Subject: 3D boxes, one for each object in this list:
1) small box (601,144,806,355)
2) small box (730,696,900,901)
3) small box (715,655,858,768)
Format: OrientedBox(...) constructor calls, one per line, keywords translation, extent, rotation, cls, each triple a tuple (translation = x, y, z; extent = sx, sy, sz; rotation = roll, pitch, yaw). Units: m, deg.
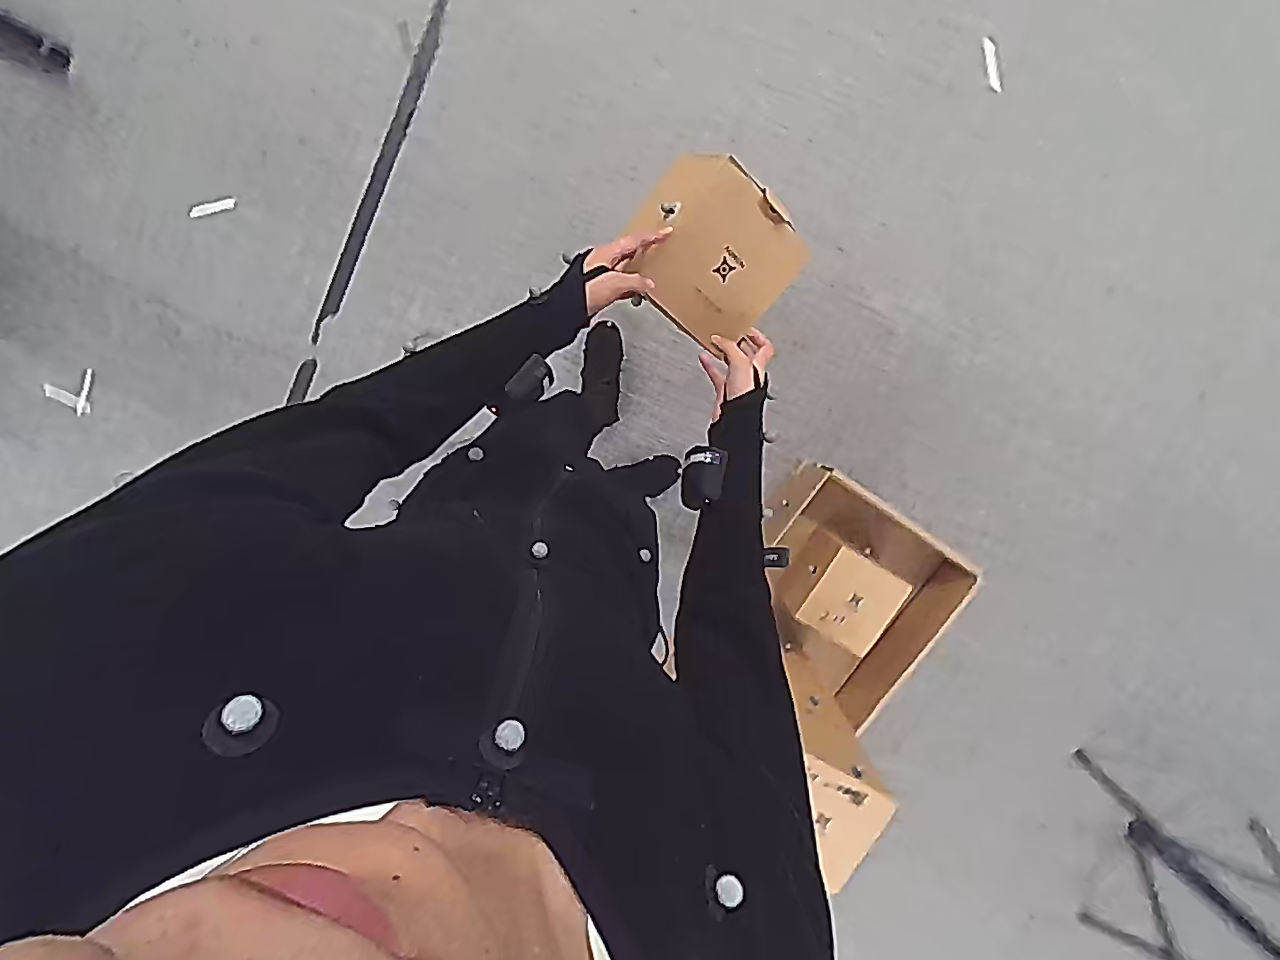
OrientedBox(translation=(0.070, -0.299, 0.704), extent=(0.168, 0.176, 0.179), rotation=(31, 105, -31), cls="small box")
OrientedBox(translation=(0.253, 0.480, 0.838), extent=(0.168, 0.176, 0.179), rotation=(30, 98, -4), cls="small box")
OrientedBox(translation=(0.256, 0.453, 1.000), extent=(0.179, 0.176, 0.168), rotation=(32, 98, -4), cls="small box")
